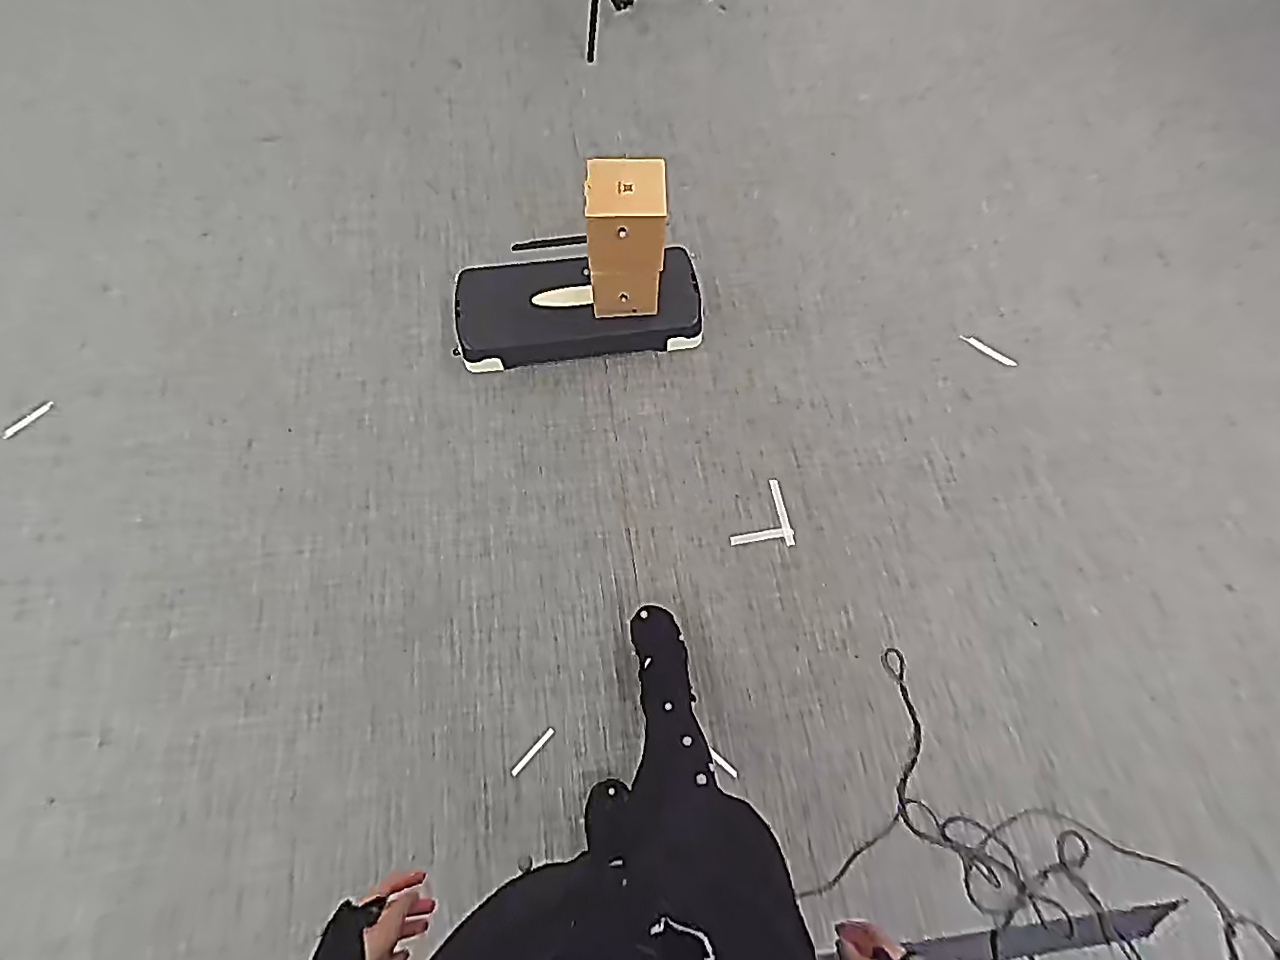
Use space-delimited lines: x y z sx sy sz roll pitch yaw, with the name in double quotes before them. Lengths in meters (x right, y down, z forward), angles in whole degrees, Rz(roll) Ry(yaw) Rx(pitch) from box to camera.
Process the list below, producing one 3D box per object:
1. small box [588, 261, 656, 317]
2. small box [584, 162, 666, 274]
"small box" -0.045 -0.536 1.392 0.168 0.176 0.179 -3 69 -2
"small box" -0.033 -0.594 1.240 0.179 0.176 0.168 -1 70 0
